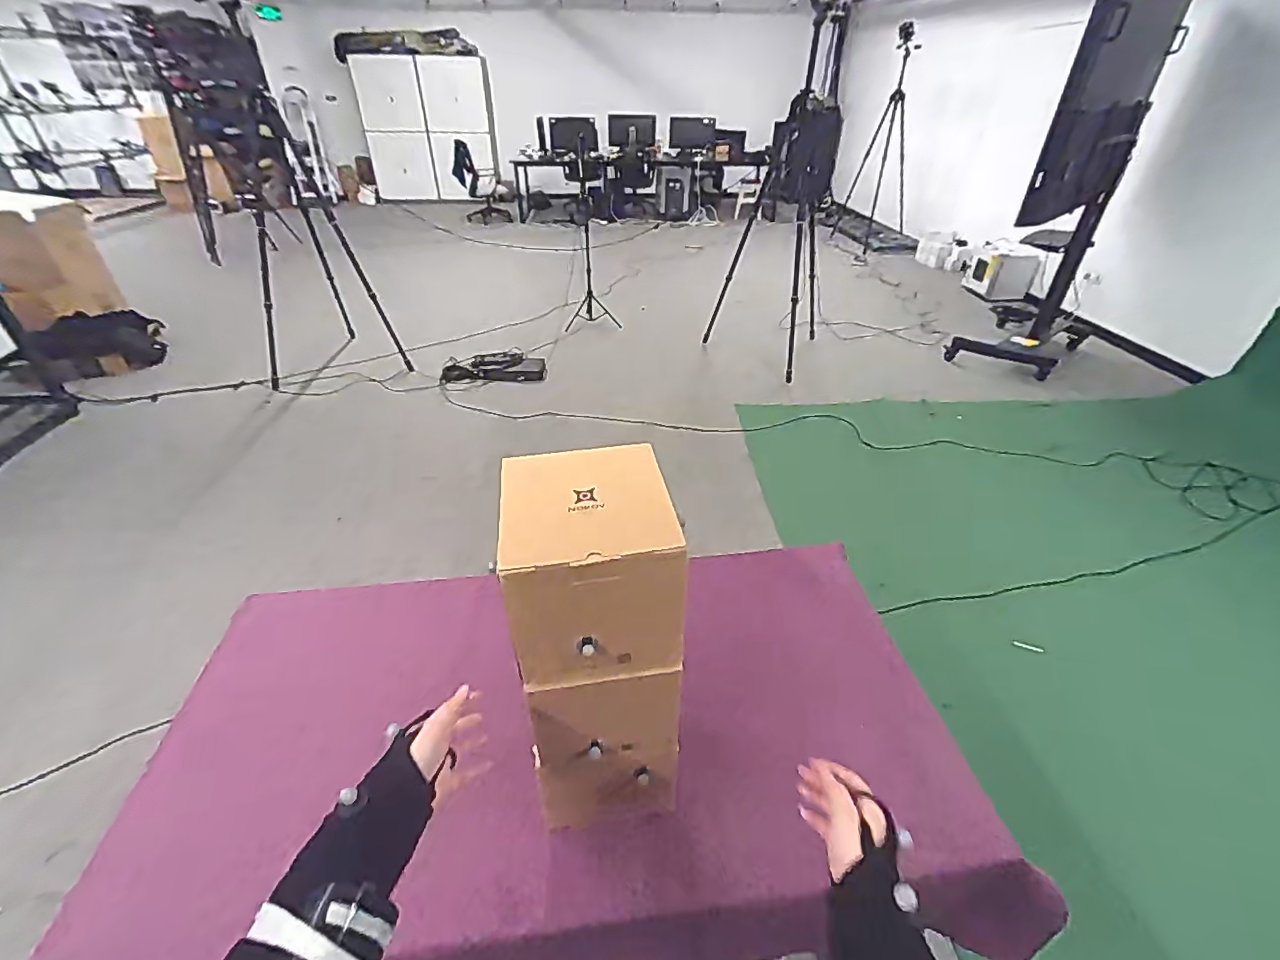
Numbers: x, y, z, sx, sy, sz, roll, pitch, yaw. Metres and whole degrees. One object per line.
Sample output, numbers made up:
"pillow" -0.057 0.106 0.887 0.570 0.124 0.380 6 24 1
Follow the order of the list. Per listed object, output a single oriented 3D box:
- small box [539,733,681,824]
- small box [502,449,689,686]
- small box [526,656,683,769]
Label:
"small box" -0.045 0.356 0.764 0.179 0.176 0.168 -4 36 -6
"small box" -0.051 0.088 0.579 0.168 0.176 0.179 -7 37 -8
"small box" -0.046 0.223 0.670 0.168 0.176 0.179 -6 37 -6
